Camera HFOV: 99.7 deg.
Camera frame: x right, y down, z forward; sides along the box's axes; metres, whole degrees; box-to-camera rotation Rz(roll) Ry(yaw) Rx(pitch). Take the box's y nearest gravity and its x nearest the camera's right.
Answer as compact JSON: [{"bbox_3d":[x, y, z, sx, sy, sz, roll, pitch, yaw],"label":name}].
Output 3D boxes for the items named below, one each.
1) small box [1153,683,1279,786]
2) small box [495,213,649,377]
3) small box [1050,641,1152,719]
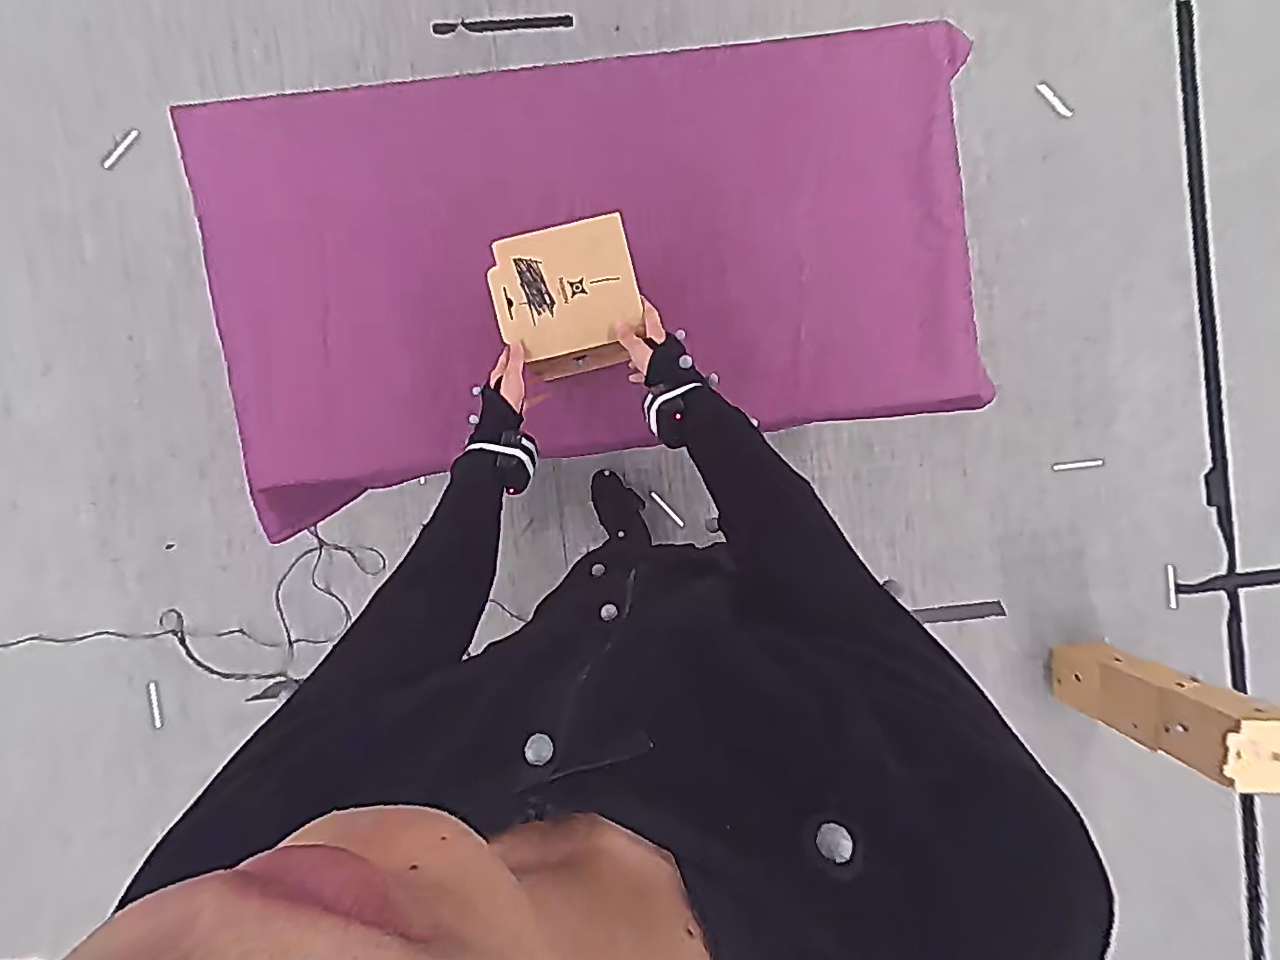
[{"bbox_3d":[1.396,0.599,1.289,0.179,0.176,0.168,3,93,-2],"label":"small box"},{"bbox_3d":[-0.091,-0.257,0.792,0.179,0.176,0.168,-14,93,-2],"label":"small box"},{"bbox_3d":[1.372,0.593,1.618,0.179,0.176,0.168,-3,93,-2],"label":"small box"}]
